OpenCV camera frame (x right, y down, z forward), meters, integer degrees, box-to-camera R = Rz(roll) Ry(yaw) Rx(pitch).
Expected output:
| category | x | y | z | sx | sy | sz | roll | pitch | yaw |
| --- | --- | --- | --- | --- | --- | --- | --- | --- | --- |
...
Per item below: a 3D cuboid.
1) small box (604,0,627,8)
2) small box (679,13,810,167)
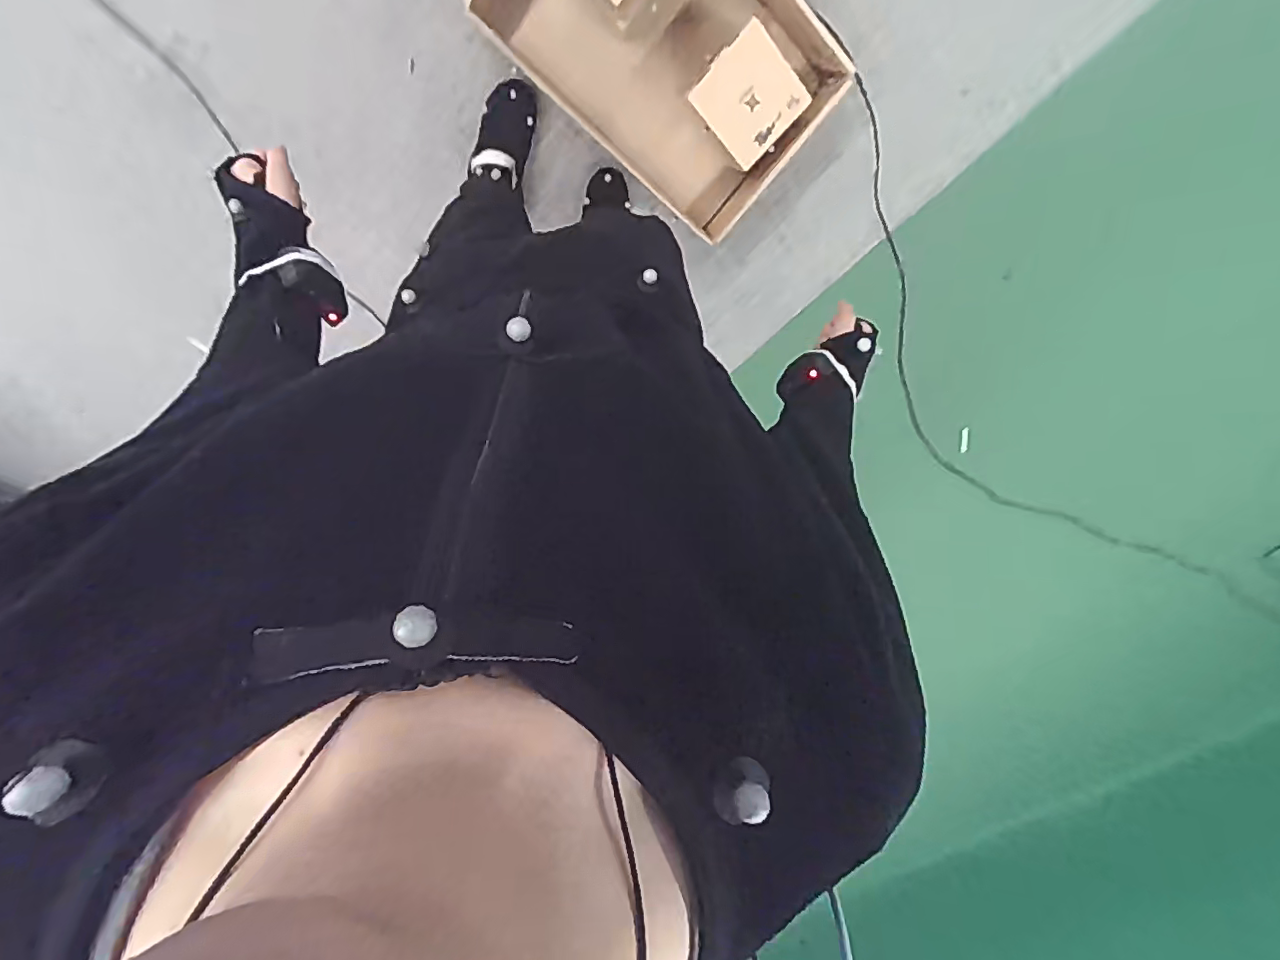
| category | x | y | z | sx | sy | sz | roll | pitch | yaw |
| --- | --- | --- | --- | --- | --- | --- | --- | --- | --- |
| small box | -0.042 | -0.840 | 0.783 | 0.168 | 0.176 | 0.179 | -40 | 118 | 22 |
| small box | 0.194 | -0.746 | 1.055 | 0.168 | 0.176 | 0.179 | -40 | 116 | 21 |
